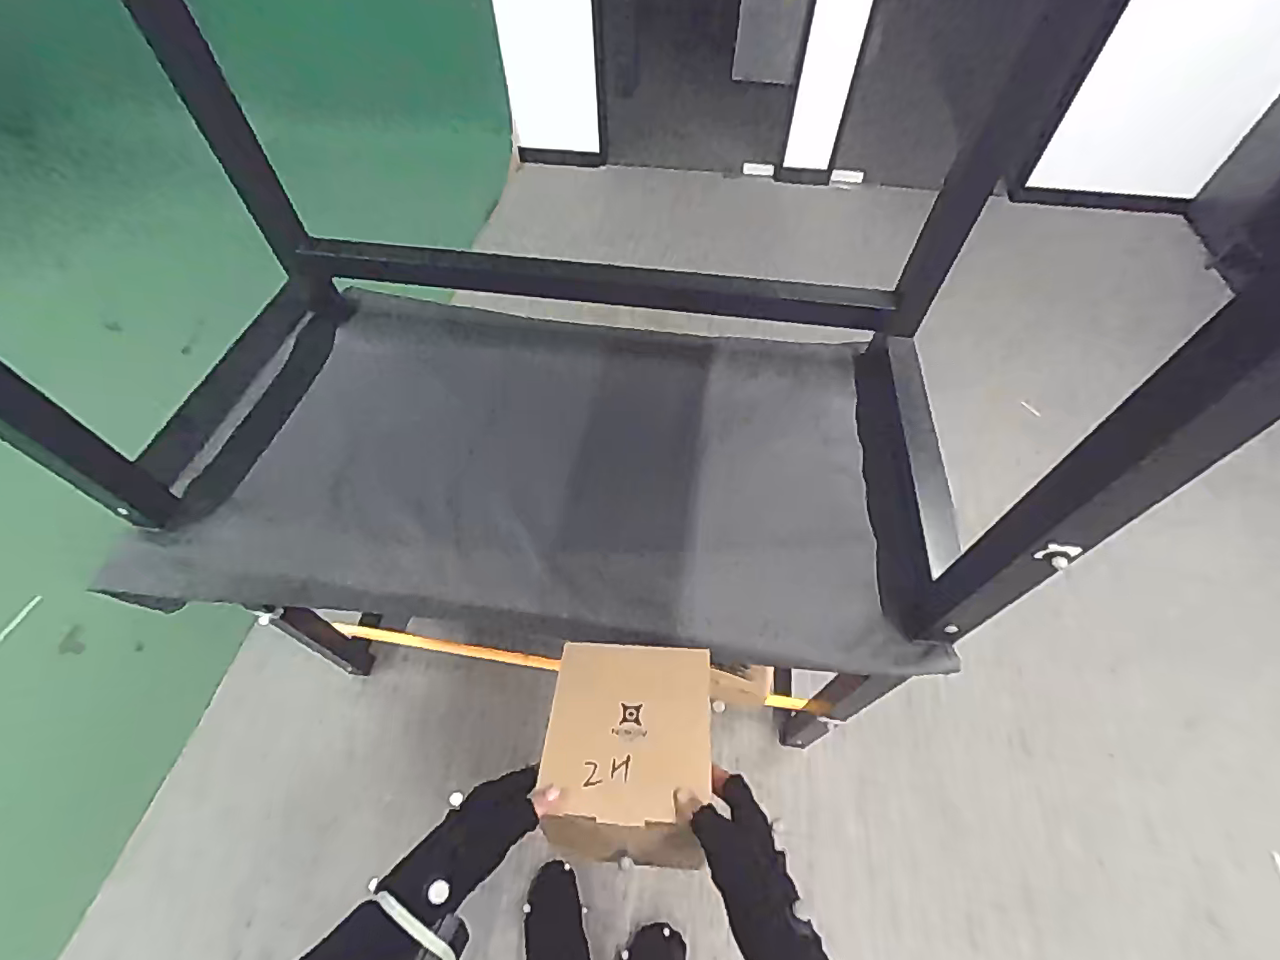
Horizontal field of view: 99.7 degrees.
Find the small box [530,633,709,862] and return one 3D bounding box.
[{"bbox_3d":[-0.010,0.294,0.600,0.168,0.176,0.179,1,44,6],"label":"small box"}]
